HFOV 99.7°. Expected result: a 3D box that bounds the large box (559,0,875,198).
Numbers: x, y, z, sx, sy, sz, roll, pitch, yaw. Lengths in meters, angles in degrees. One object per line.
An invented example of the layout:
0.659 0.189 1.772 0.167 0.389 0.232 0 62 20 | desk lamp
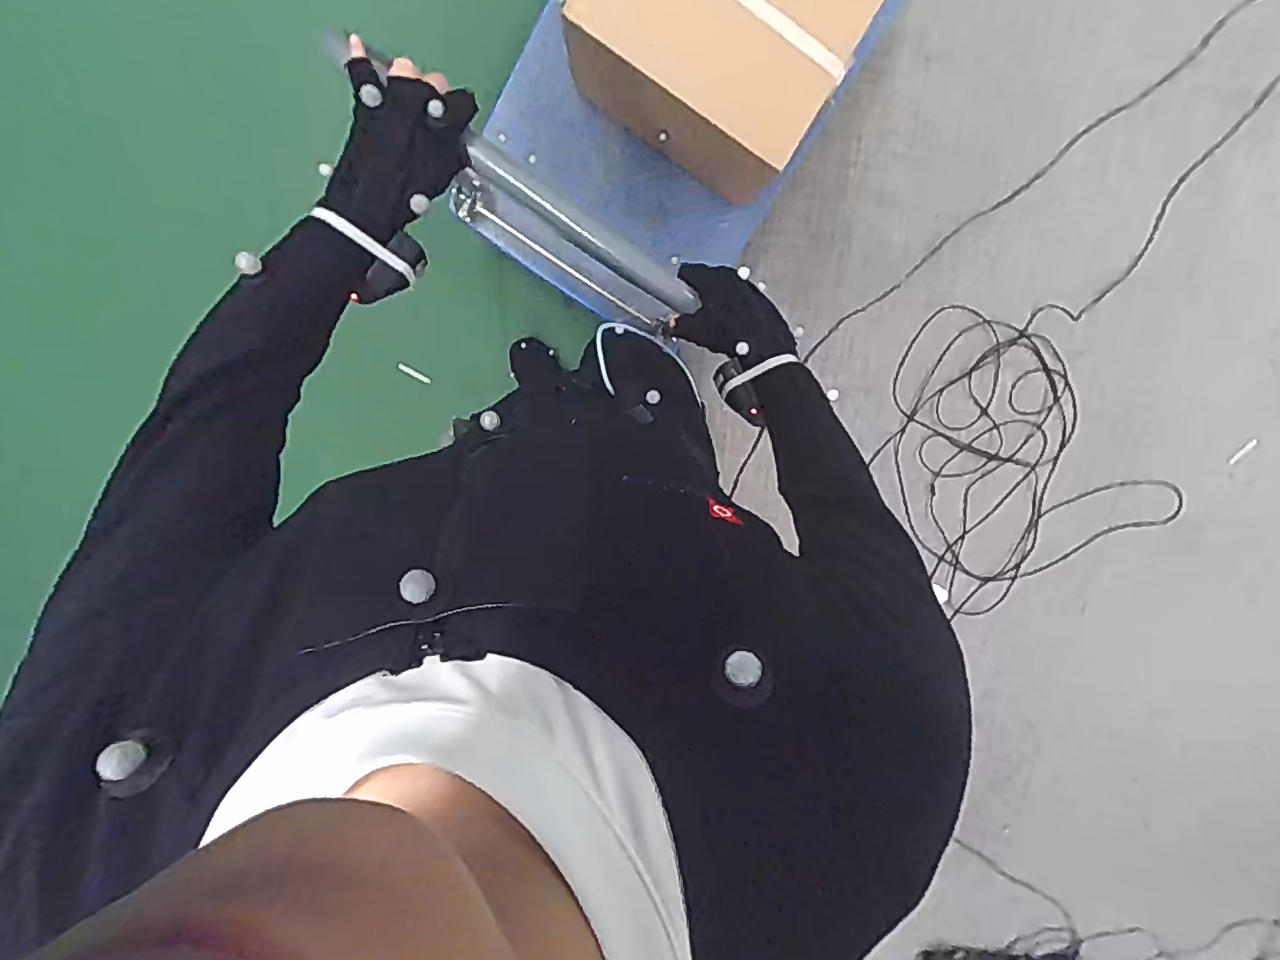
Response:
0.122 -0.766 0.937 0.408 0.320 0.320 29 103 -11 | large box
